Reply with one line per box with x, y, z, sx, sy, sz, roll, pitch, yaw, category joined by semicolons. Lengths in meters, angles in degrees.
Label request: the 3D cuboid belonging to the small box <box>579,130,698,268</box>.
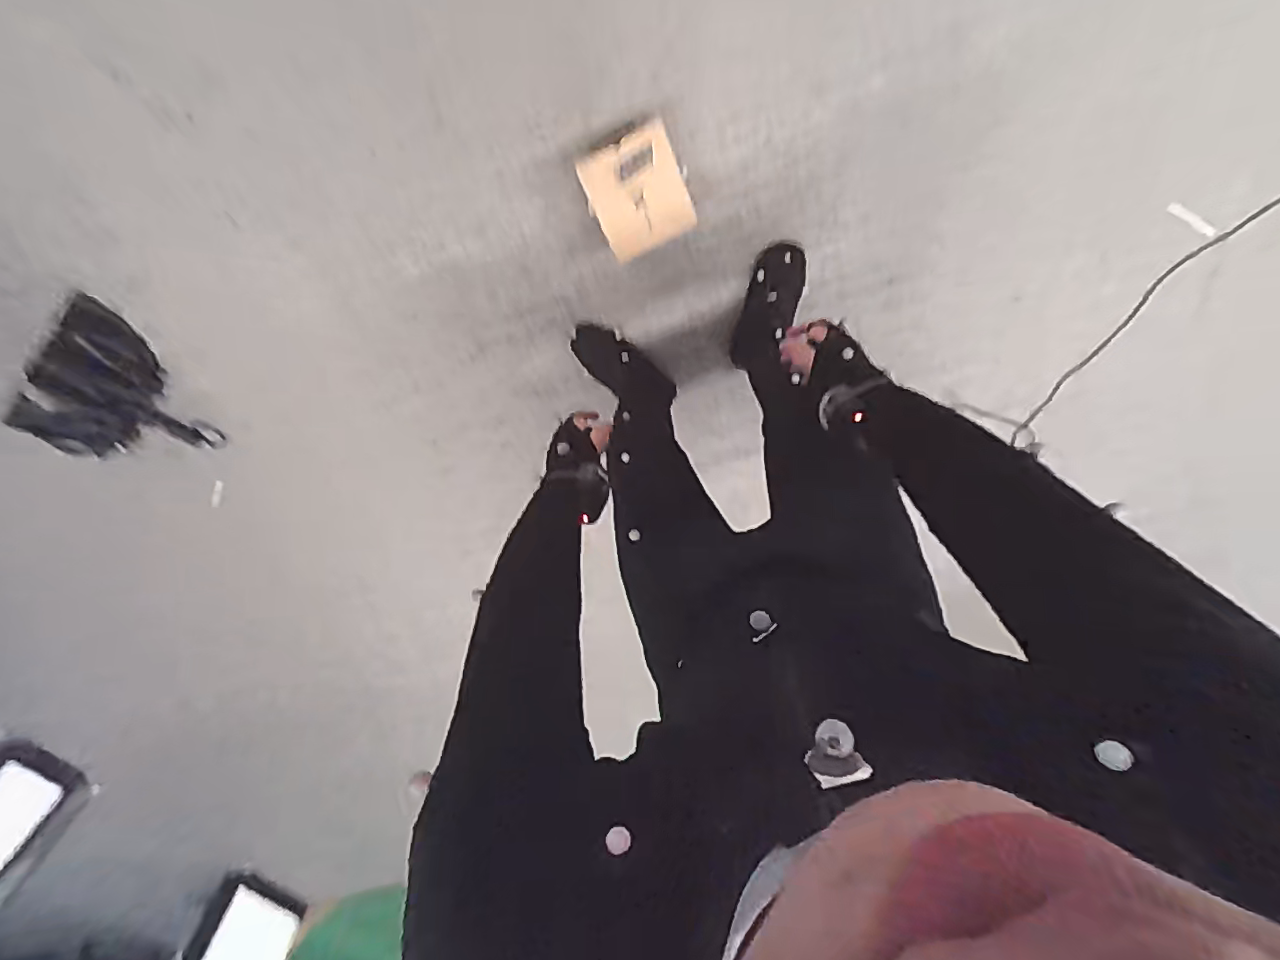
-0.003;-0.538;1.035;0.168;0.176;0.179;-22;121;13;small box
